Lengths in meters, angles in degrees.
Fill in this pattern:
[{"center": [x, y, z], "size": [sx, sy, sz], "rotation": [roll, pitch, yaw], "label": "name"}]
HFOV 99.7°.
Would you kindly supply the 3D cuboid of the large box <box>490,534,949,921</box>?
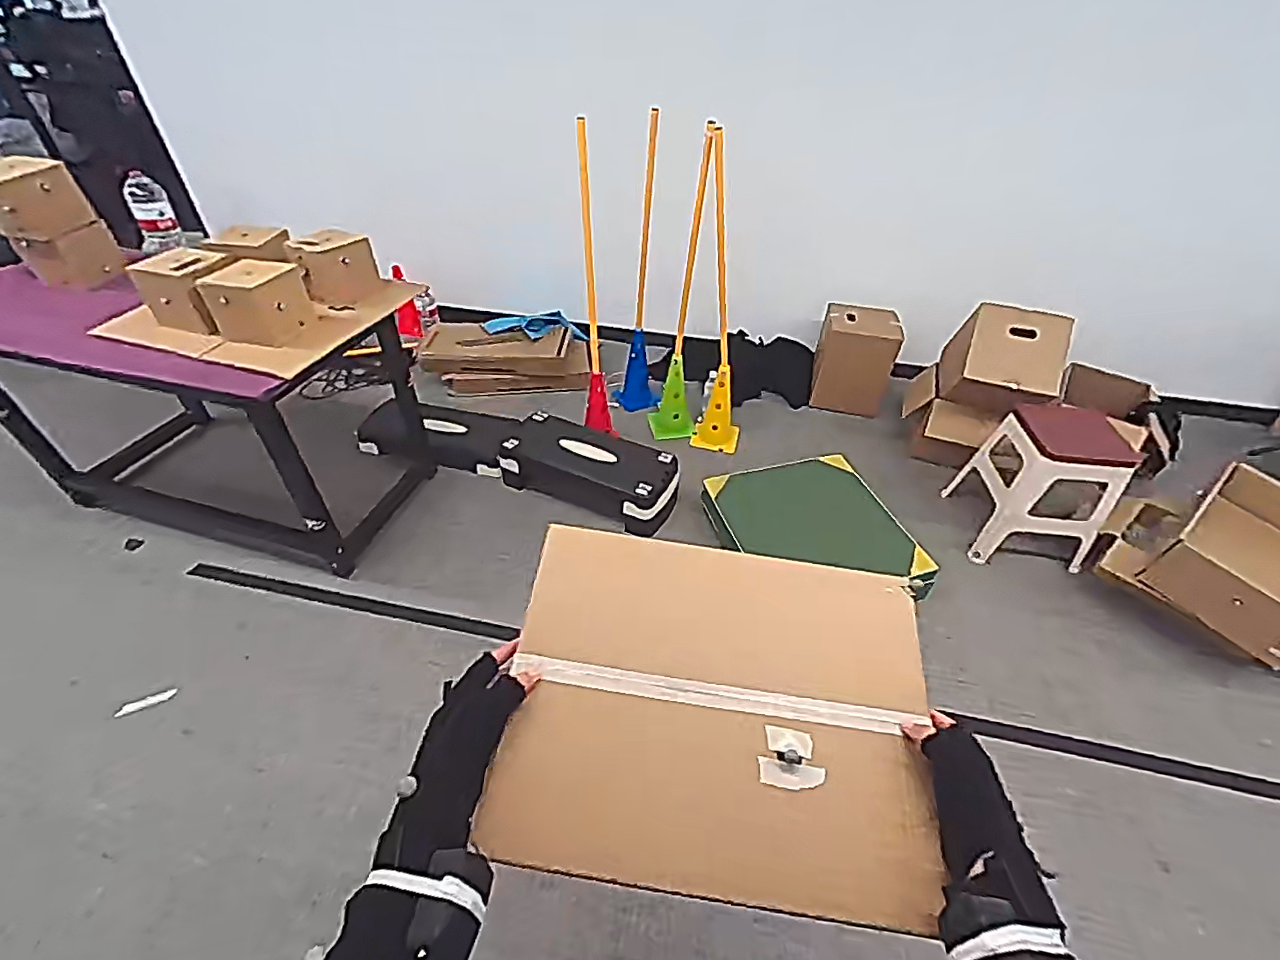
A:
[{"center": [0.076, 0.295, 0.663], "size": [0.408, 0.320, 0.320], "rotation": [9, 58, 2], "label": "large box"}]
